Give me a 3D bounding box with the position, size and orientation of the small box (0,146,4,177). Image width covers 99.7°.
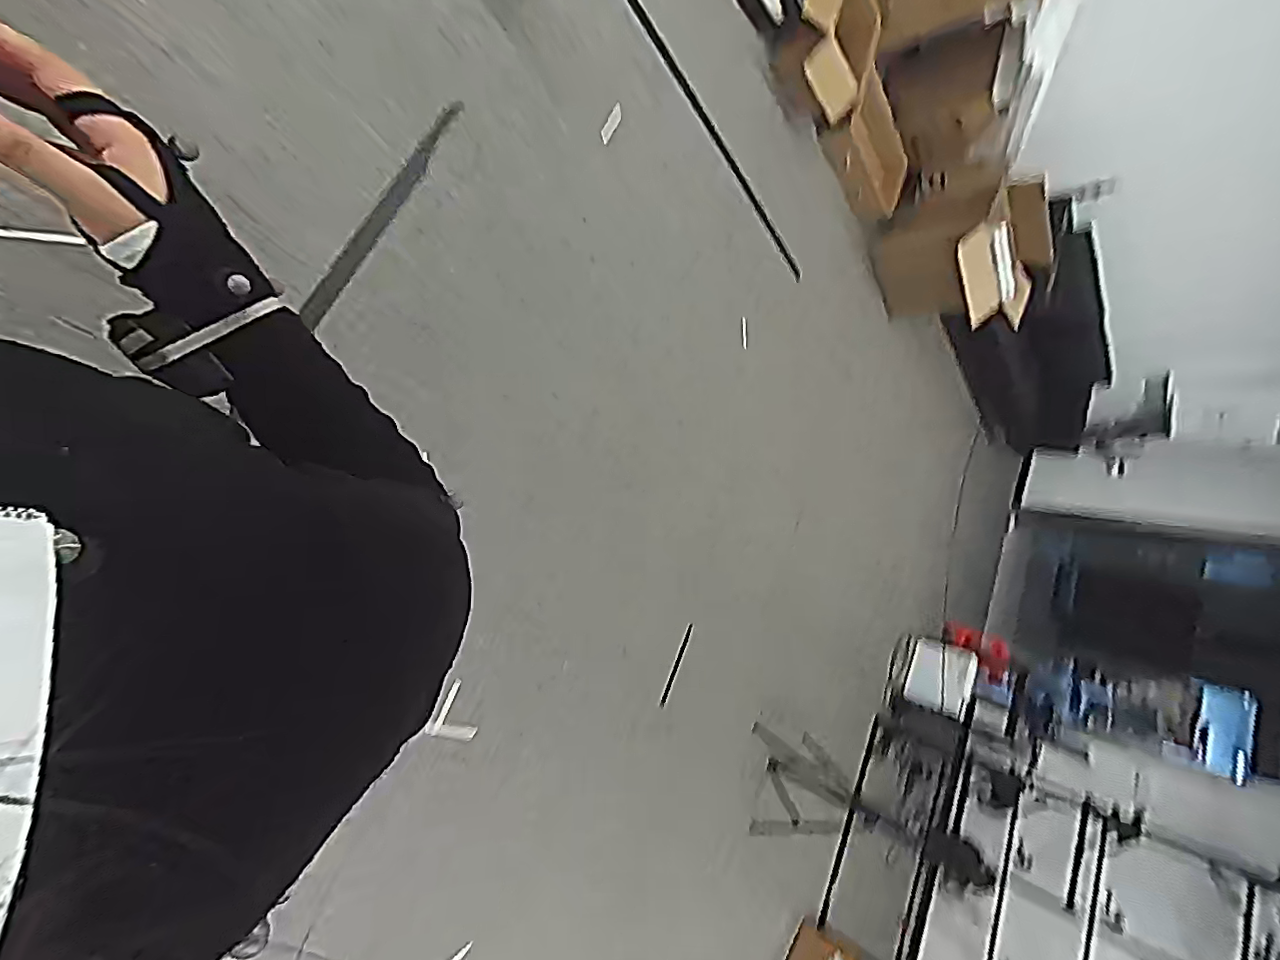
[{"bbox_3d":[-0.435,-0.247,0.241,0.168,0.176,0.179,-14,113,-43],"label":"small box"}]
